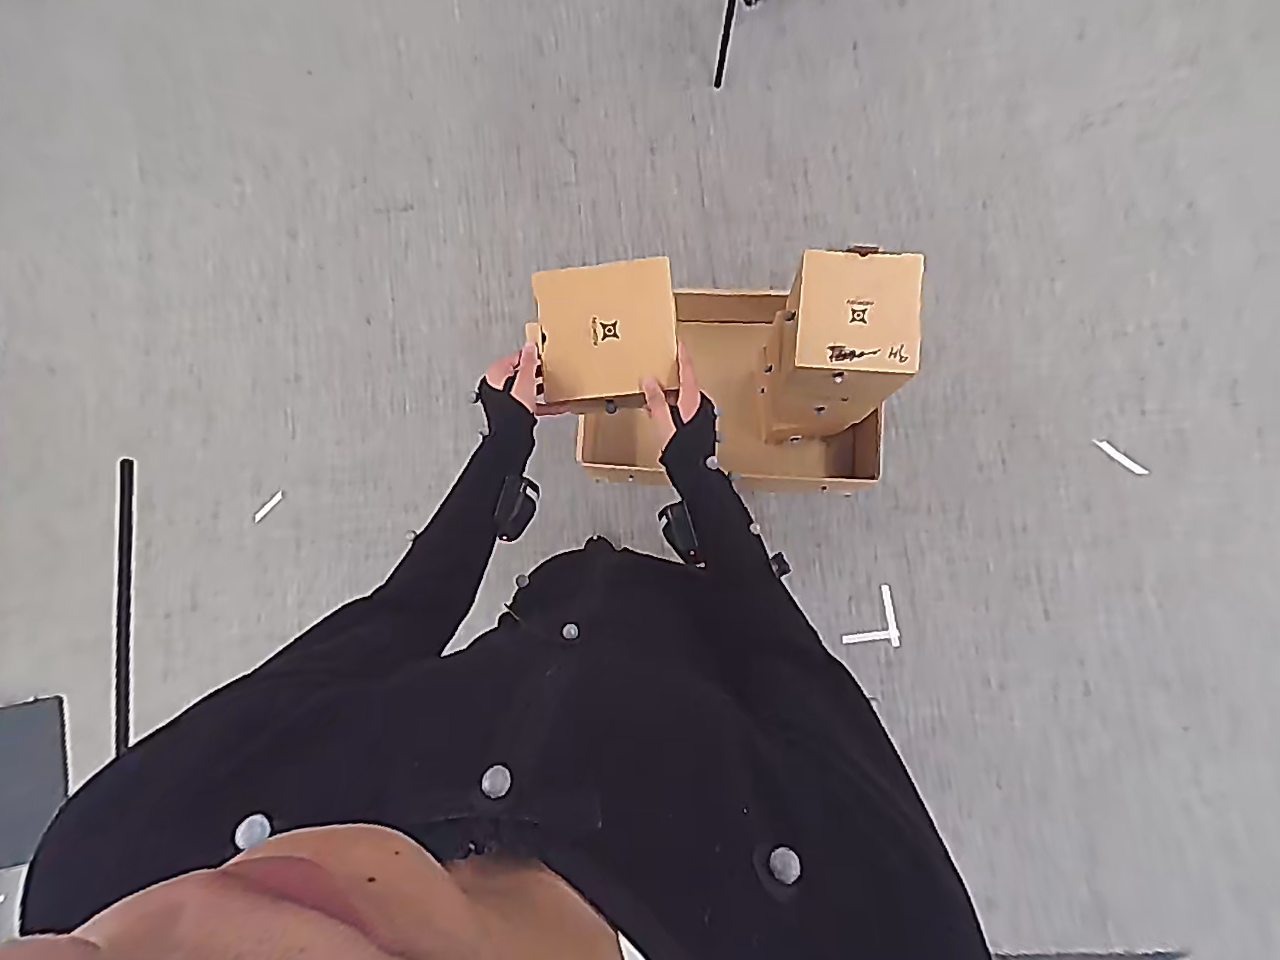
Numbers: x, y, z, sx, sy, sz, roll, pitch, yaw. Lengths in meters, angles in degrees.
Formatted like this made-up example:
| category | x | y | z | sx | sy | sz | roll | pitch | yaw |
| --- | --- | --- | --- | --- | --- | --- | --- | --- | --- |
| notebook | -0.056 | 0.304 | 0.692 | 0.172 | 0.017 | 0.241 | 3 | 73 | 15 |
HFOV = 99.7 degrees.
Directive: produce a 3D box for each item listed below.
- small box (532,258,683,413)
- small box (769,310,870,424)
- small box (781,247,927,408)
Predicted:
| category | x | y | z | sx | sy | sz | roll | pitch | yaw |
| --- | --- | --- | --- | --- | --- | --- | --- | --- | --- |
| small box | -0.033 | -0.185 | 0.741 | 0.179 | 0.176 | 0.168 | -5 | 92 | 7 |
| small box | 0.328 | -0.198 | 0.978 | 0.179 | 0.176 | 0.168 | 0 | 83 | 7 |
| small box | 0.311 | -0.222 | 0.816 | 0.168 | 0.176 | 0.179 | 6 | 83 | 8 |
